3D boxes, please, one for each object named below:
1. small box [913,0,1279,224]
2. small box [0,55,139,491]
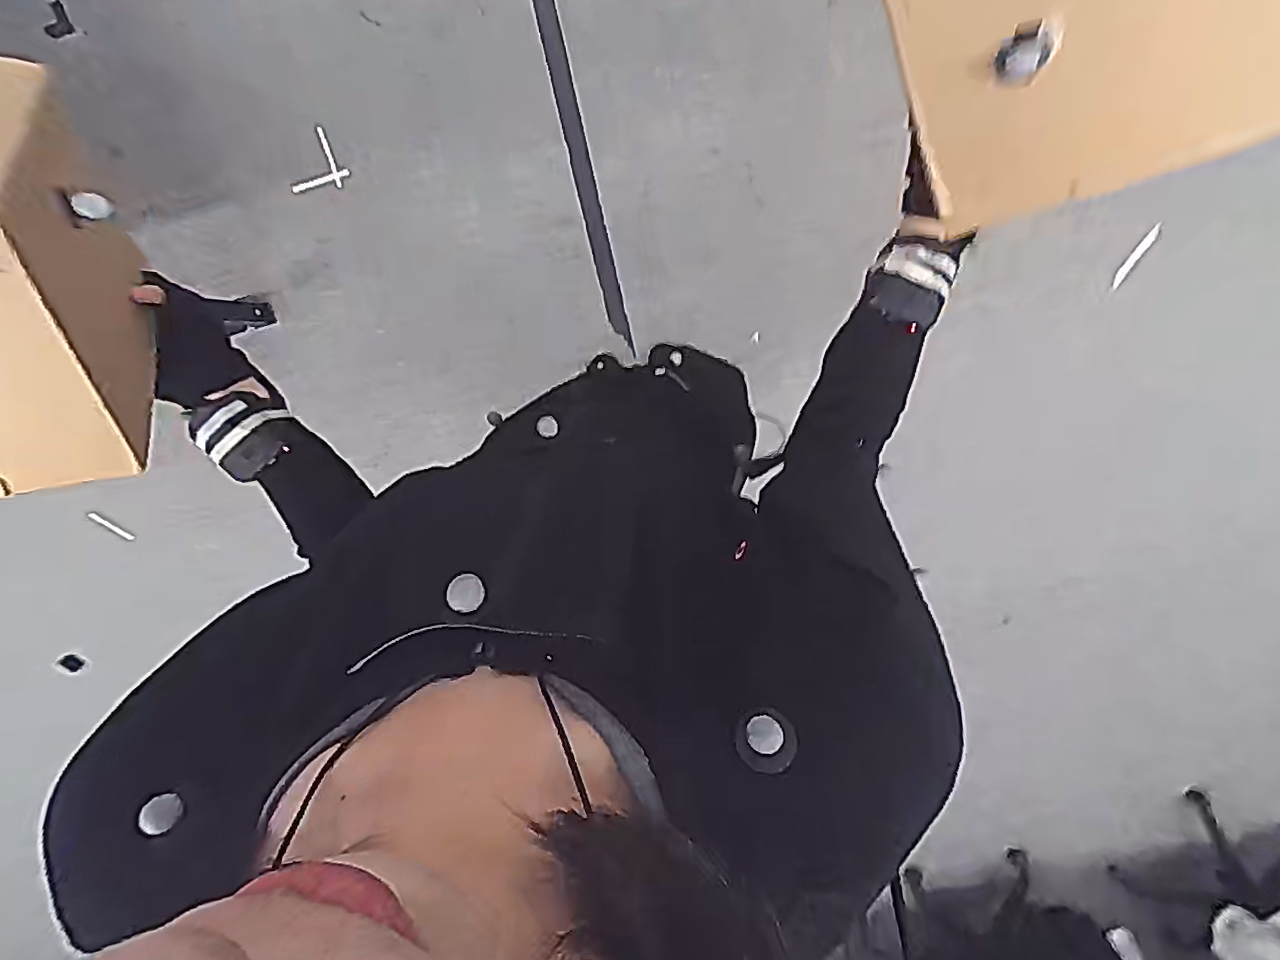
[{"bbox_3d":[0.226,-0.262,0.245,0.168,0.179,0.176,-4,138,39],"label":"small box"},{"bbox_3d":[-0.391,-0.104,0.269,0.168,0.179,0.176,-13,143,-28],"label":"small box"}]
